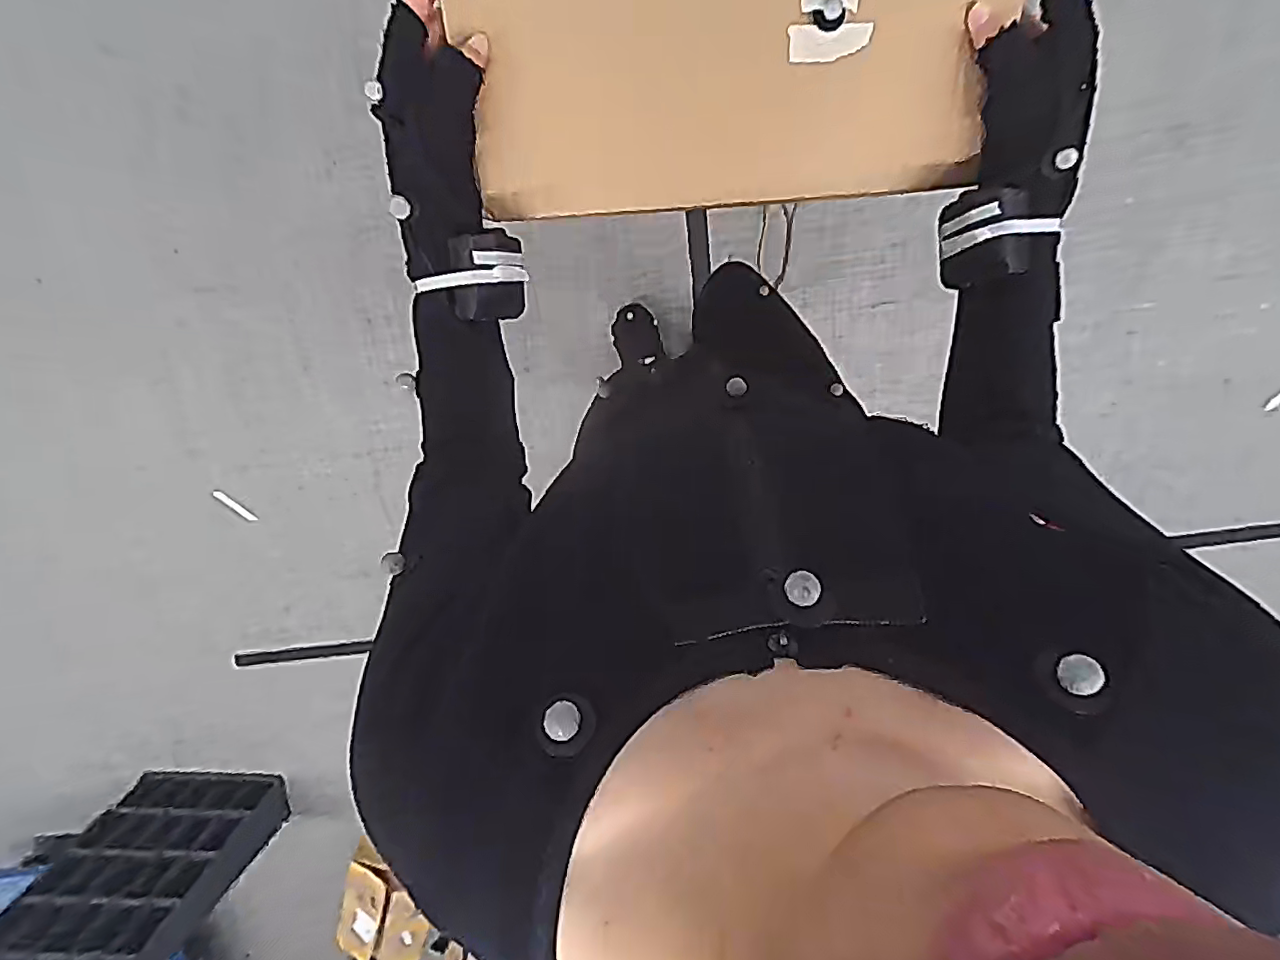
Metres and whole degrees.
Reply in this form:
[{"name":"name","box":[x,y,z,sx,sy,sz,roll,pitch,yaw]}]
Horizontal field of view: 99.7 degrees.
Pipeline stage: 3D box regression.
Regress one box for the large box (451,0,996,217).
[{"name":"large box","box":[0.054,-0.438,0.511,0.408,0.320,0.320,-4,116,0]}]
